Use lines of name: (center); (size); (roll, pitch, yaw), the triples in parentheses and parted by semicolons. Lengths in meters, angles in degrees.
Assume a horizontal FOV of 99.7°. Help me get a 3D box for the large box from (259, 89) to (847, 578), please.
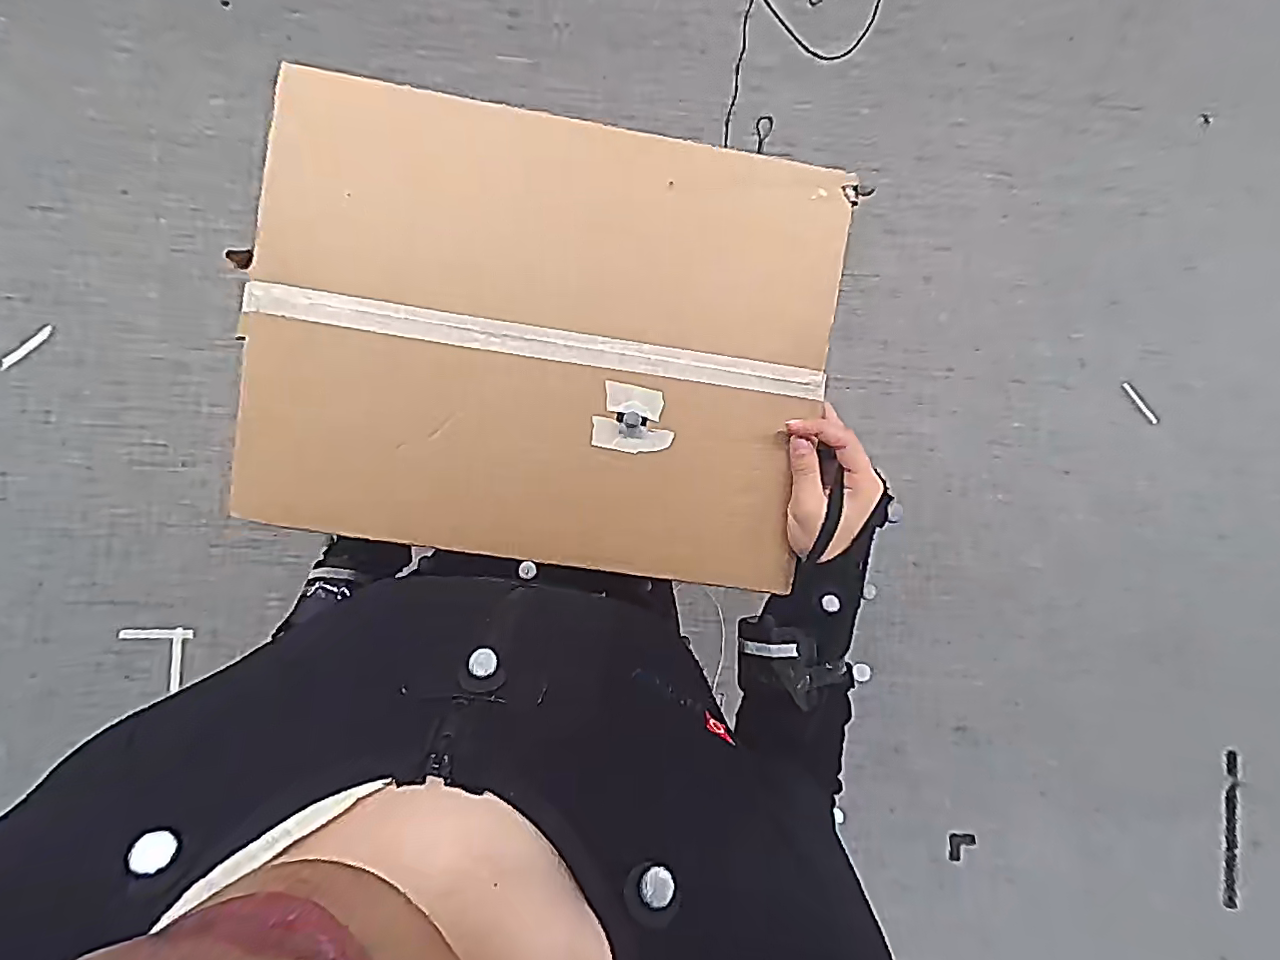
large box: (-0.071, -0.105, 0.543); (0.408, 0.320, 0.320); (8, 93, -5)
